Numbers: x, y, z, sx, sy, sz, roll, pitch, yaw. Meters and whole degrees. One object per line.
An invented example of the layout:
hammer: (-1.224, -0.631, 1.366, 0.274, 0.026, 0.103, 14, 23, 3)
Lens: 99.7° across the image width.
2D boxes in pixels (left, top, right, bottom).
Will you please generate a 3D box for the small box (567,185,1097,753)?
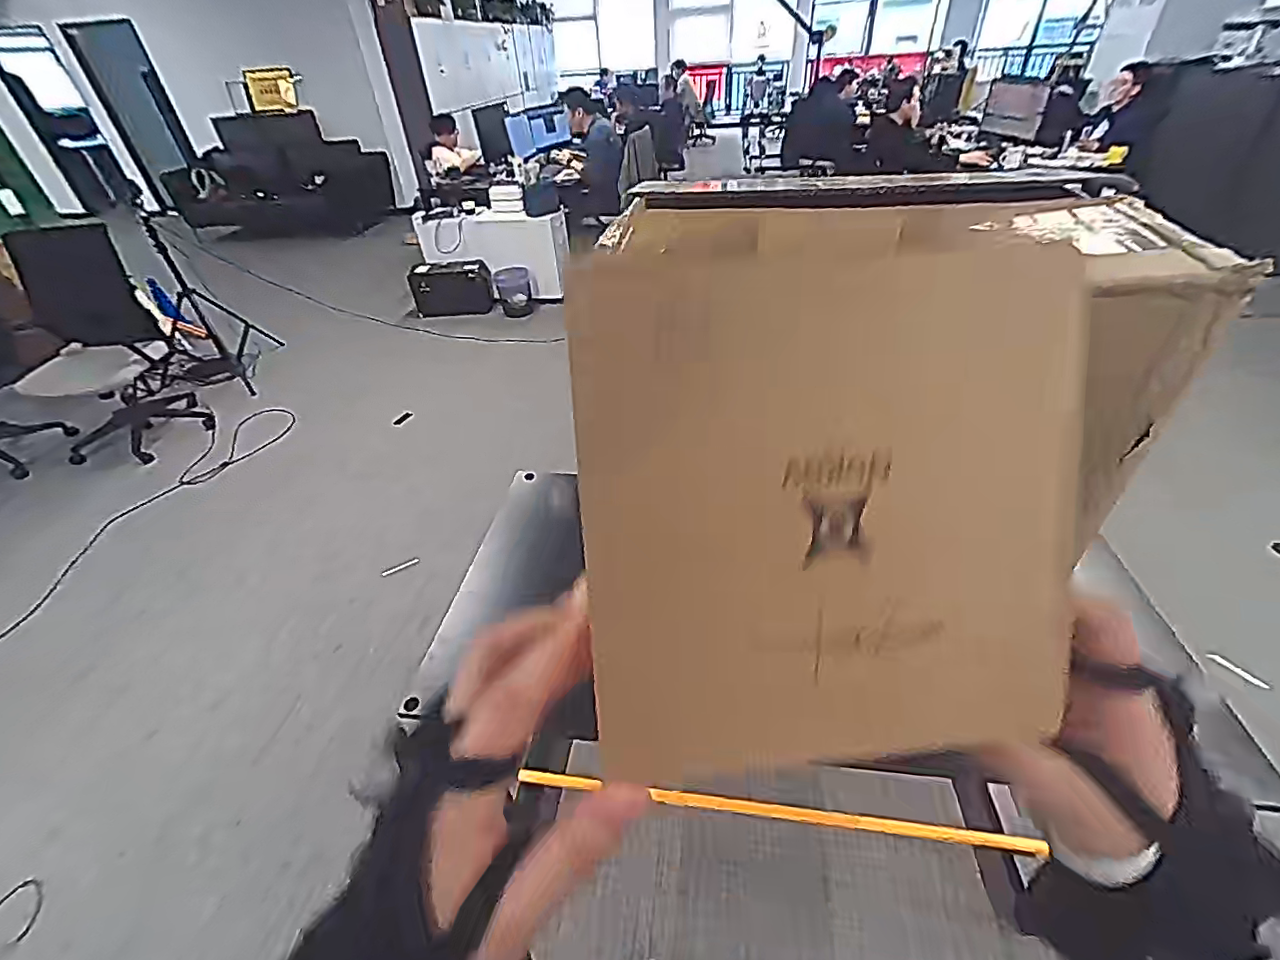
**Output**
small box: (0.056, -0.012, 0.251, 0.168, 0.179, 0.176, -4, 10, -3)
